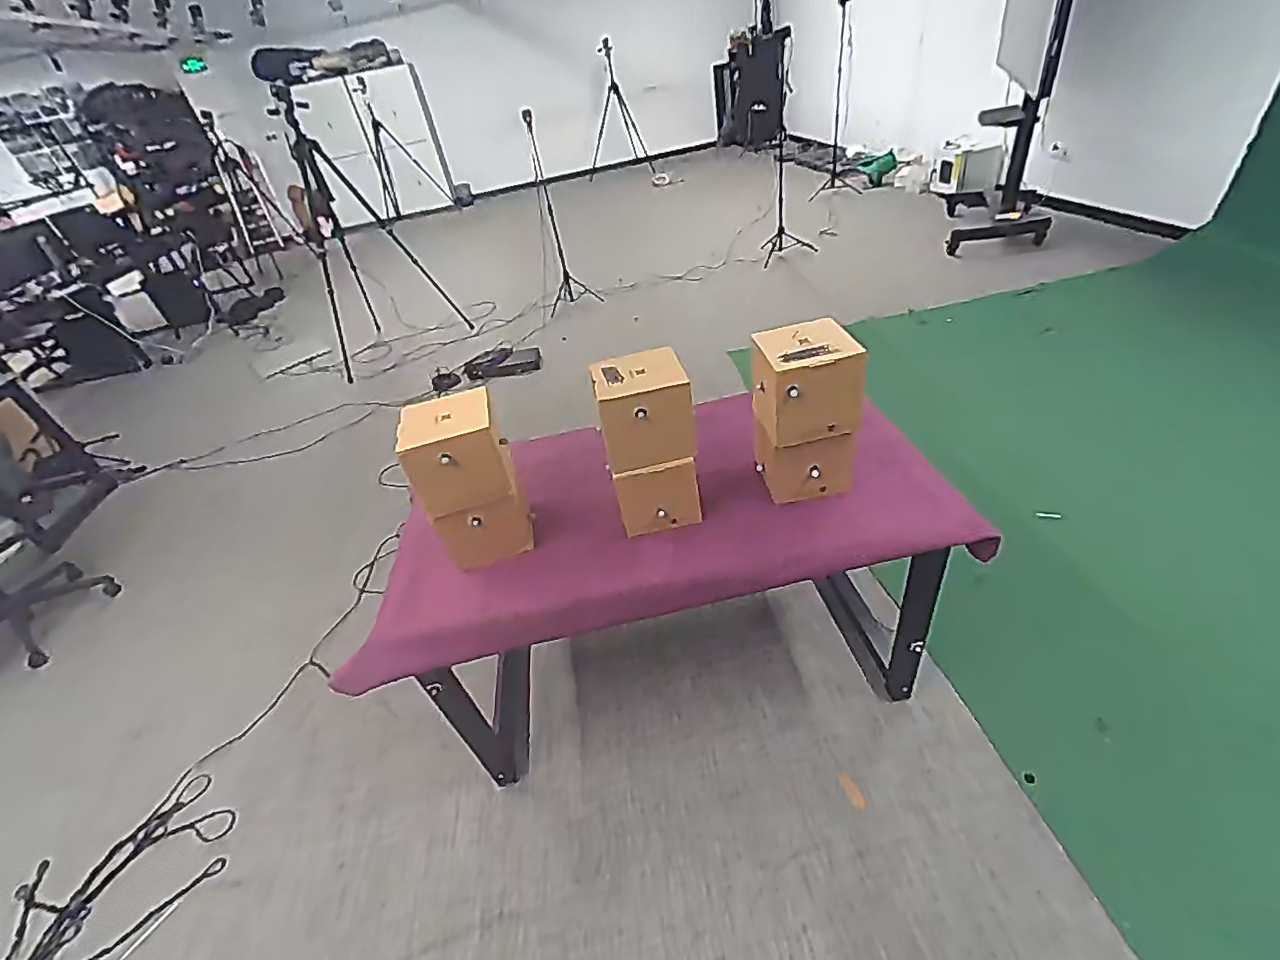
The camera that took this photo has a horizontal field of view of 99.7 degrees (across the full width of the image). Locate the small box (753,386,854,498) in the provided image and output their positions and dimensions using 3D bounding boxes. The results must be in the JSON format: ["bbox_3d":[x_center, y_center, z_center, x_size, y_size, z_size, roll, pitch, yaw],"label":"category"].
[{"bbox_3d":[0.349,-0.076,1.176,0.168,0.176,0.179,-10,38,2],"label":"small box"}]

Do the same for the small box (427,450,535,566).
[{"bbox_3d":[-0.341,0.064,1.183,0.179,0.176,0.168,-15,39,-5],"label":"small box"}]

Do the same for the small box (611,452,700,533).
[{"bbox_3d":[0.030,-0.010,1.177,0.168,0.176,0.179,-12,39,1],"label":"small box"}]

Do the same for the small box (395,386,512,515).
[{"bbox_3d":[-0.361,-0.059,1.079,0.179,0.176,0.168,-17,40,-6],"label":"small box"}]

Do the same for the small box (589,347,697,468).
[{"bbox_3d":[0.005,-0.143,1.083,0.179,0.176,0.168,-13,38,-2],"label":"small box"}]
